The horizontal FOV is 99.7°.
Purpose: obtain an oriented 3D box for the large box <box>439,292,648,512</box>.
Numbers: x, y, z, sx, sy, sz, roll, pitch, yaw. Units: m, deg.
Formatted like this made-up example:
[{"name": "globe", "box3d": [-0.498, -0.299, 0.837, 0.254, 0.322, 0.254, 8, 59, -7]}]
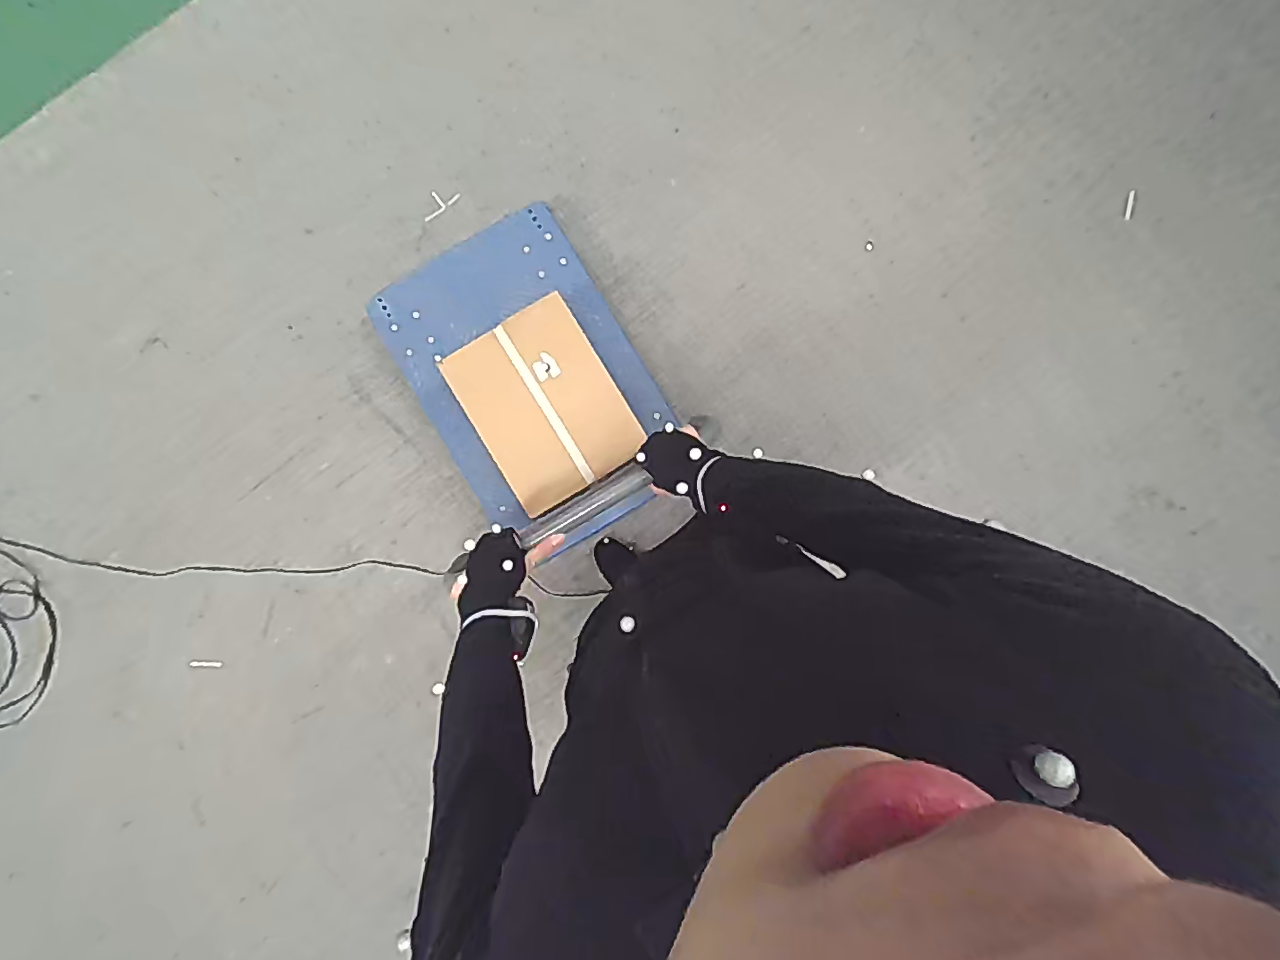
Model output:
[{"name": "large box", "box3d": [-0.210, -0.169, 1.335, 0.320, 0.320, 0.408, -32, 88, -1]}]
